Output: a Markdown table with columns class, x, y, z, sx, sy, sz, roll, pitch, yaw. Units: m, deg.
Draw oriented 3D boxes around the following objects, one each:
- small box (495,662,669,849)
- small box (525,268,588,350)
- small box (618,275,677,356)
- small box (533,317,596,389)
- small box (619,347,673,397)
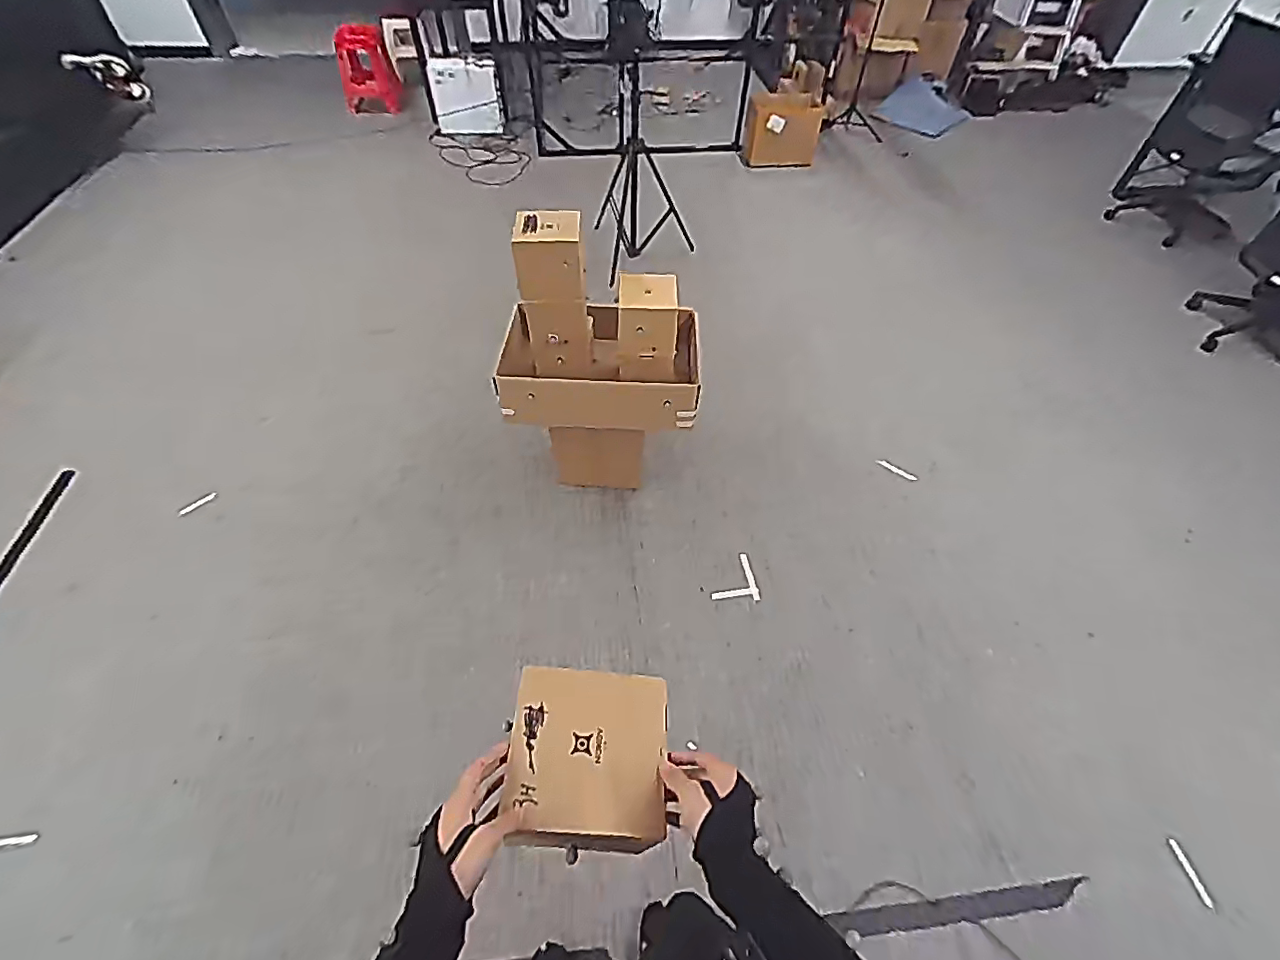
| class | x | y | z | sx | sy | sz | roll | pitch | yaw |
| --- | --- | --- | --- | --- | --- | --- | --- | --- | --- |
| small box | -0.070 | 0.338 | 0.654 | 0.179 | 0.176 | 0.168 | 9 | 51 | -7 |
| small box | -0.243 | -0.507 | 1.604 | 0.168 | 0.176 | 0.179 | -3 | 51 | -3 |
| small box | 0.022 | -0.482 | 1.592 | 0.168 | 0.176 | 0.179 | 1 | 51 | -1 |
| small box | -0.236 | -0.405 | 1.732 | 0.179 | 0.176 | 0.168 | 0 | 52 | -2 |
| small box | 0.018 | -0.380 | 1.719 | 0.168 | 0.176 | 0.179 | 0 | 51 | -1 |
